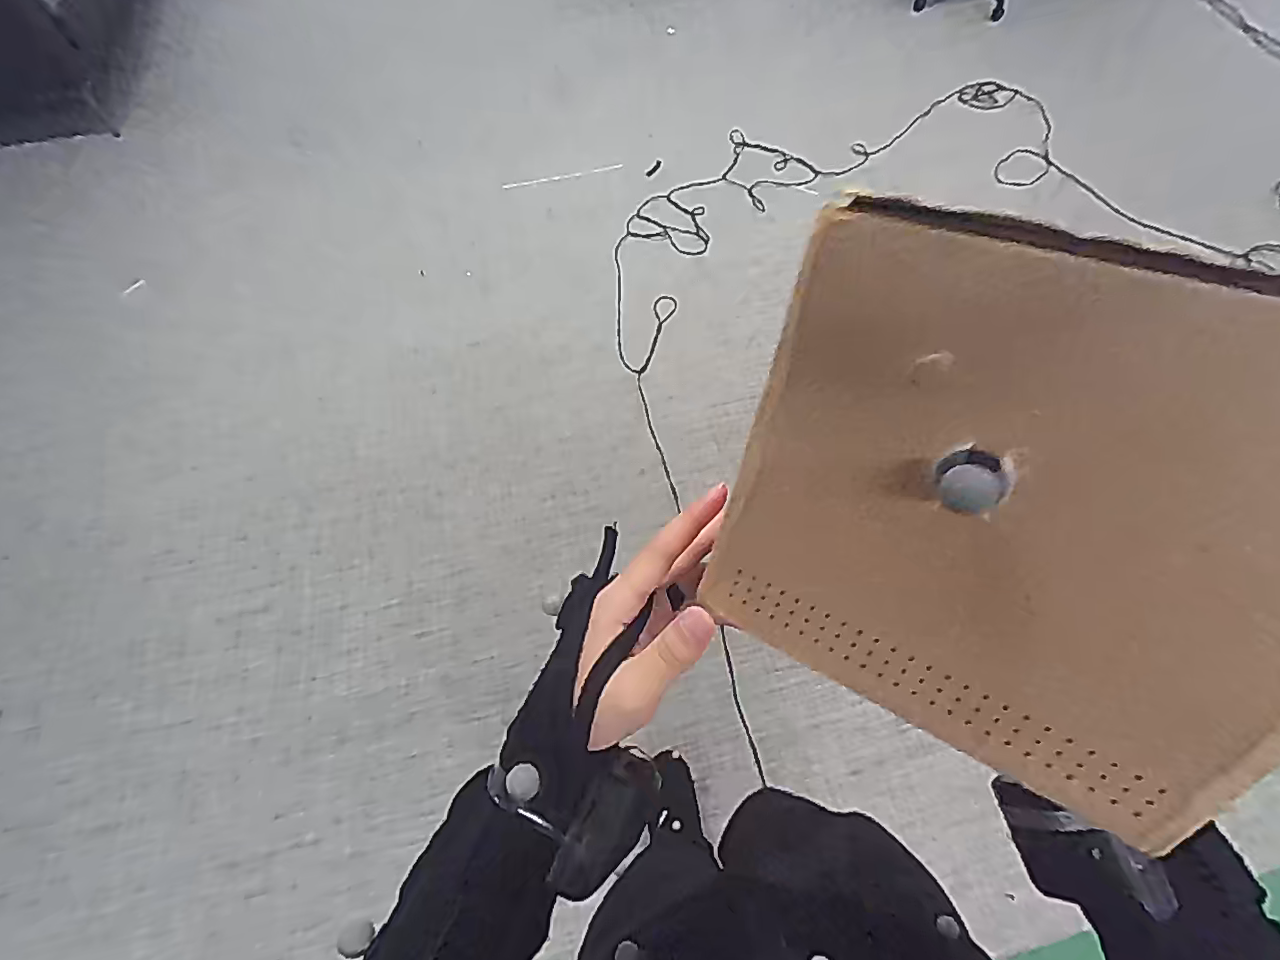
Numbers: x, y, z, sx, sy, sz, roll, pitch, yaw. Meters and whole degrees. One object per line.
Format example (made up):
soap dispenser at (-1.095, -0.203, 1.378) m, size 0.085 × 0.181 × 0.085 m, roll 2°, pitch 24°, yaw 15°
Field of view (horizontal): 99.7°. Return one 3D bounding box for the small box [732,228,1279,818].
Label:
small box at (0.160, -0.002, 0.238) m, size 0.179 × 0.176 × 0.168 m, roll 24°, pitch 32°, yaw 22°
